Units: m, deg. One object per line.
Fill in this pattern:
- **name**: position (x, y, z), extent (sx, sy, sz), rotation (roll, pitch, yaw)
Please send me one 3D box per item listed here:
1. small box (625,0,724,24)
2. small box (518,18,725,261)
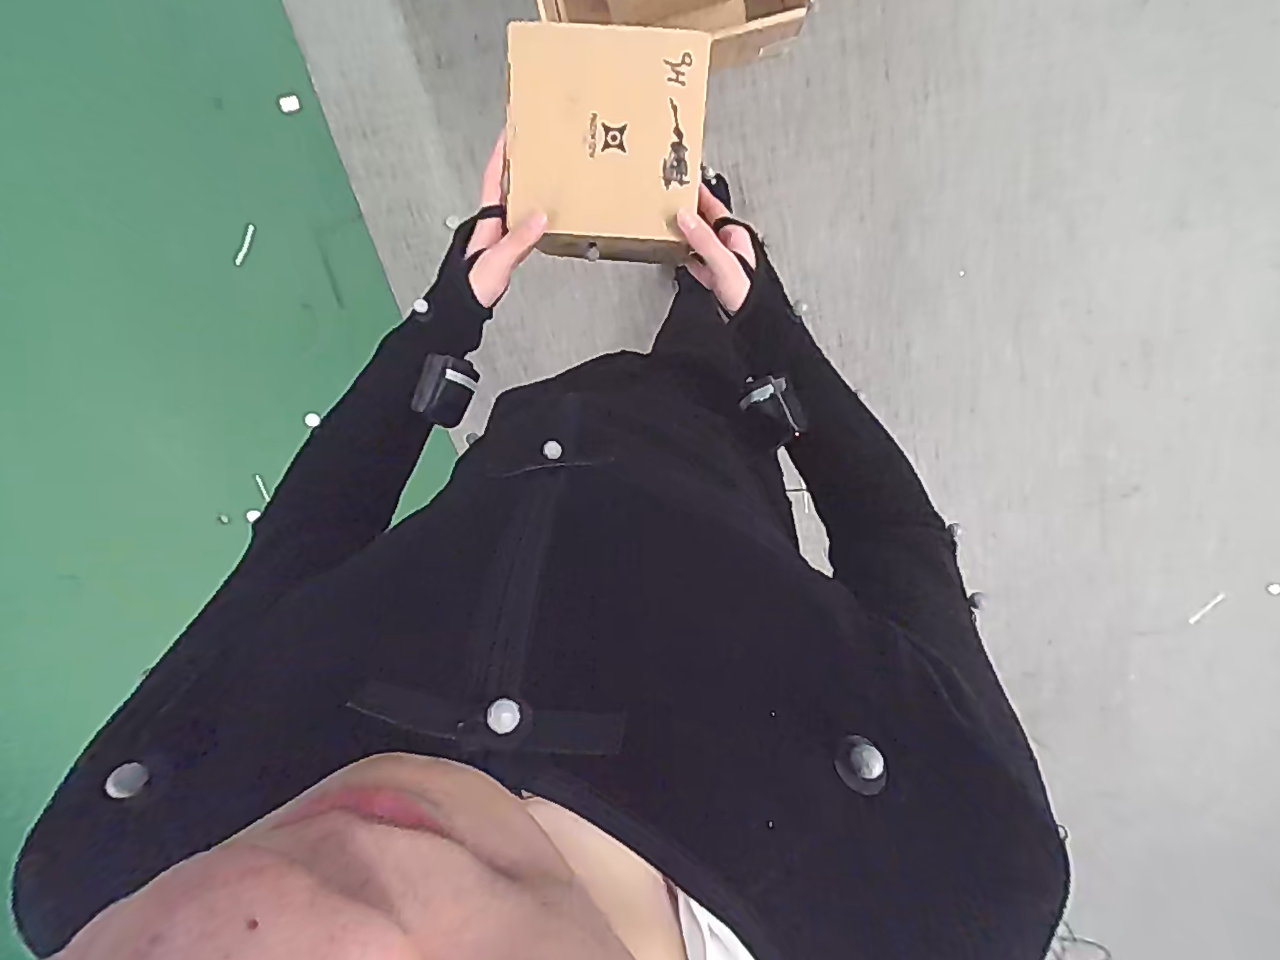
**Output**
- **small box**: position (0.051, -0.810, 0.790), extent (0.179, 0.176, 0.168), rotation (-11, 110, 6)
- **small box**: position (-0.016, -0.325, 0.552), extent (0.179, 0.176, 0.168), rotation (4, 105, 1)
